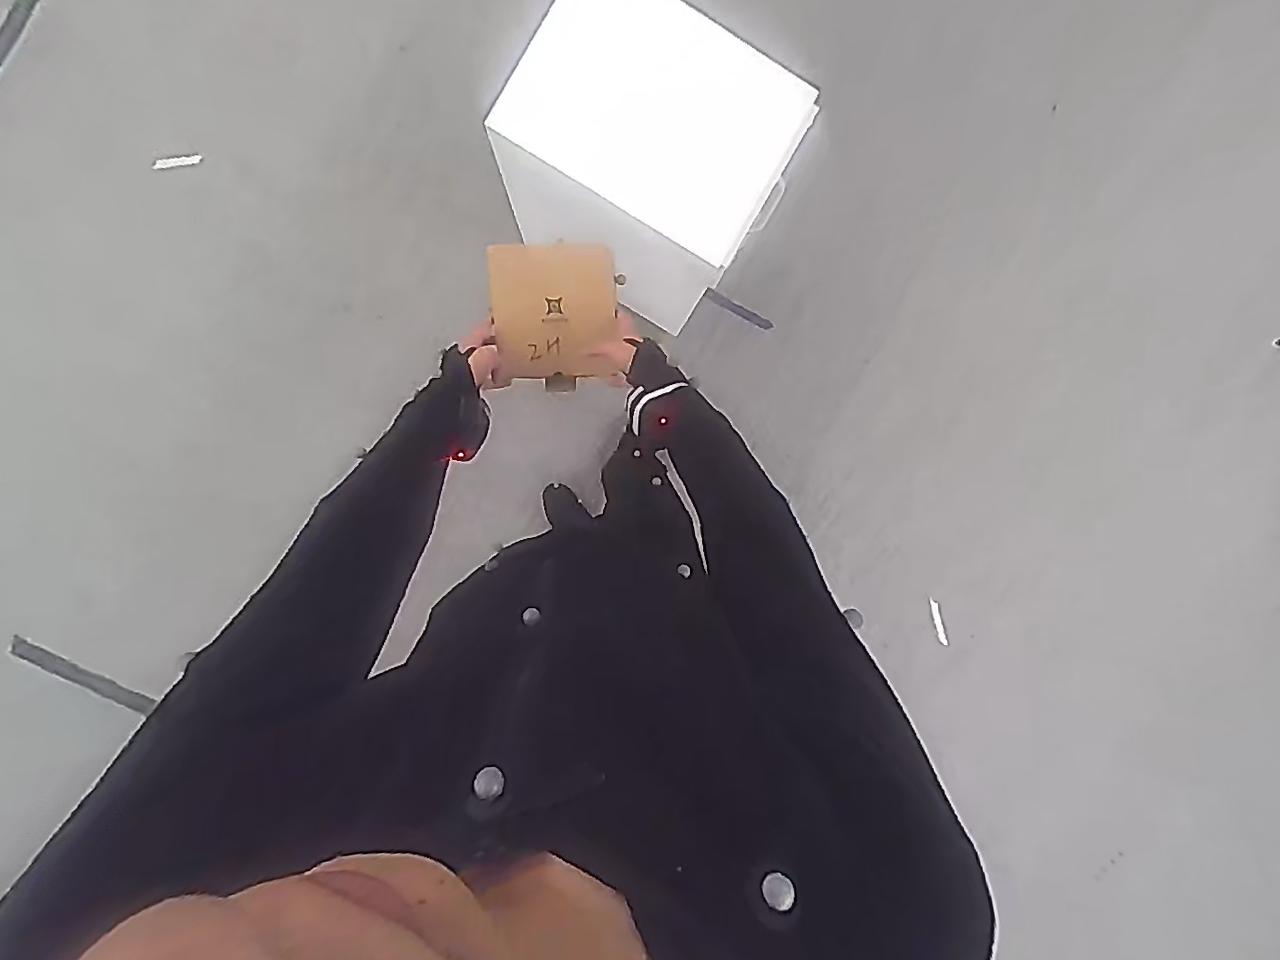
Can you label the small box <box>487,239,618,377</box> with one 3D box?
[{"bbox_3d":[-0.118,-0.252,0.799,0.168,0.176,0.179,-1,109,0],"label":"small box"}]
